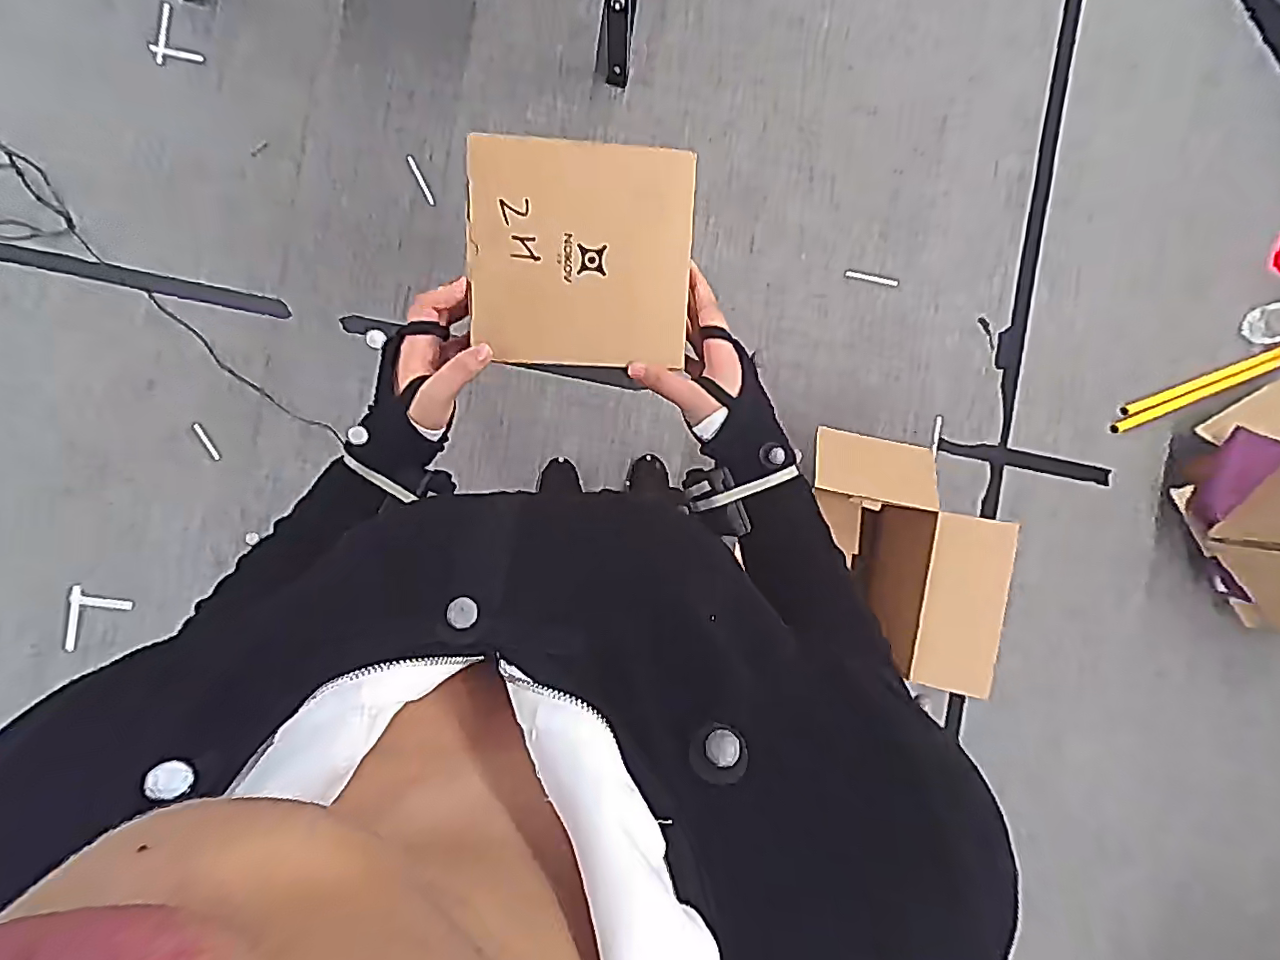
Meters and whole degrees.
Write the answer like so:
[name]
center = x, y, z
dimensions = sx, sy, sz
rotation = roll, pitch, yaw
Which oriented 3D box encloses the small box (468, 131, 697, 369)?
[small box]
center = -0.053, -0.193, 0.502
dimensions = 0.179, 0.176, 0.168
rotation = 2, 102, -5
